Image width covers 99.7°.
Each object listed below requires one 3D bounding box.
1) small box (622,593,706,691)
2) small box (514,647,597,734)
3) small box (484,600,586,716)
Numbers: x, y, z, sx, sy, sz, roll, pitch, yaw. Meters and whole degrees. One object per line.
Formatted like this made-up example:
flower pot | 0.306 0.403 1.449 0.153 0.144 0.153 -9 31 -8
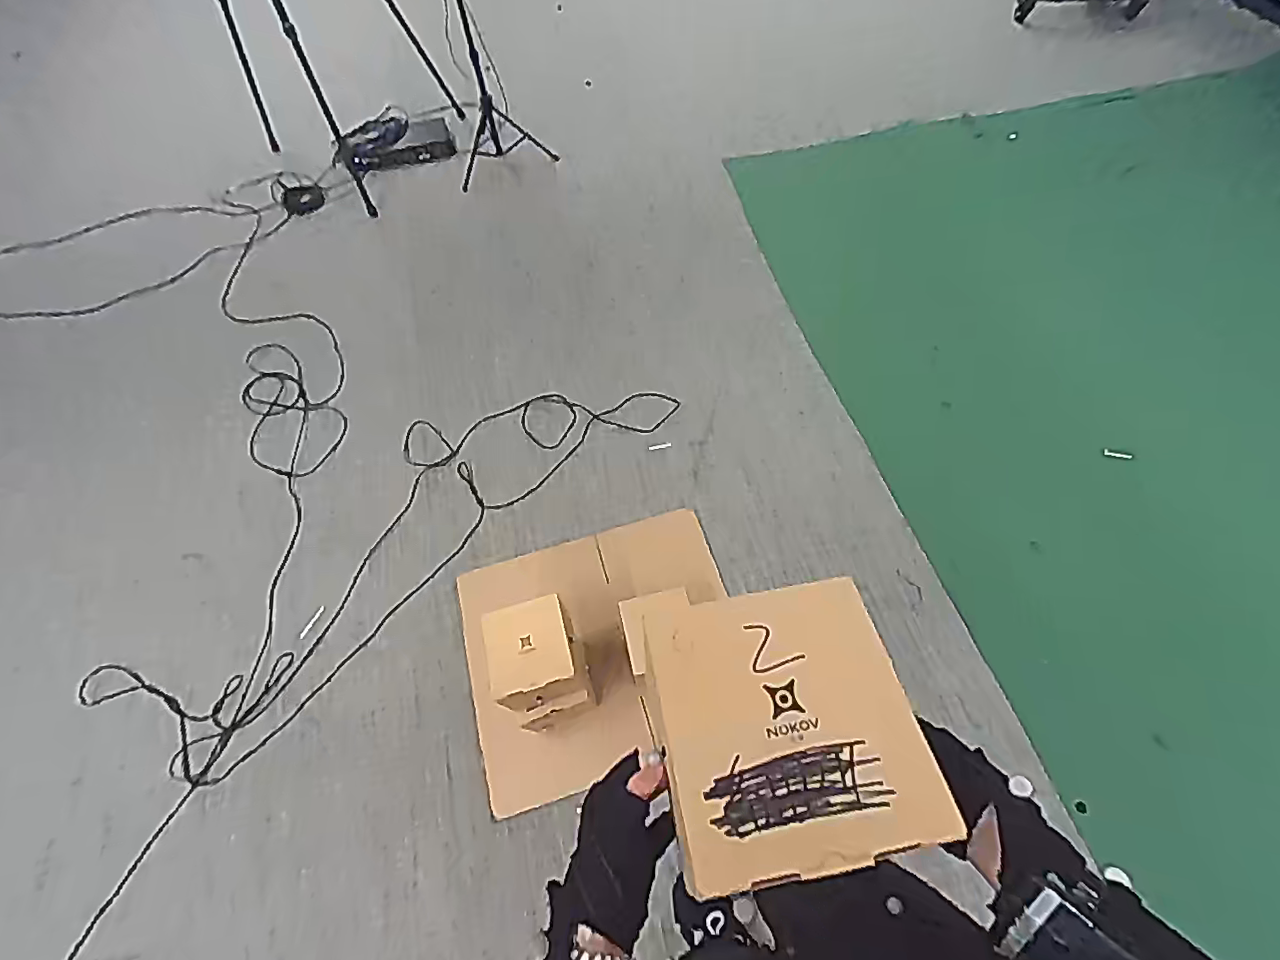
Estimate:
small box | 0.055 0.397 1.314 0.168 0.176 0.179 -13 61 -3
small box | -0.207 0.485 1.275 0.168 0.176 0.179 -18 61 -7
small box | -0.219 0.381 1.148 0.168 0.176 0.179 -15 61 -6
